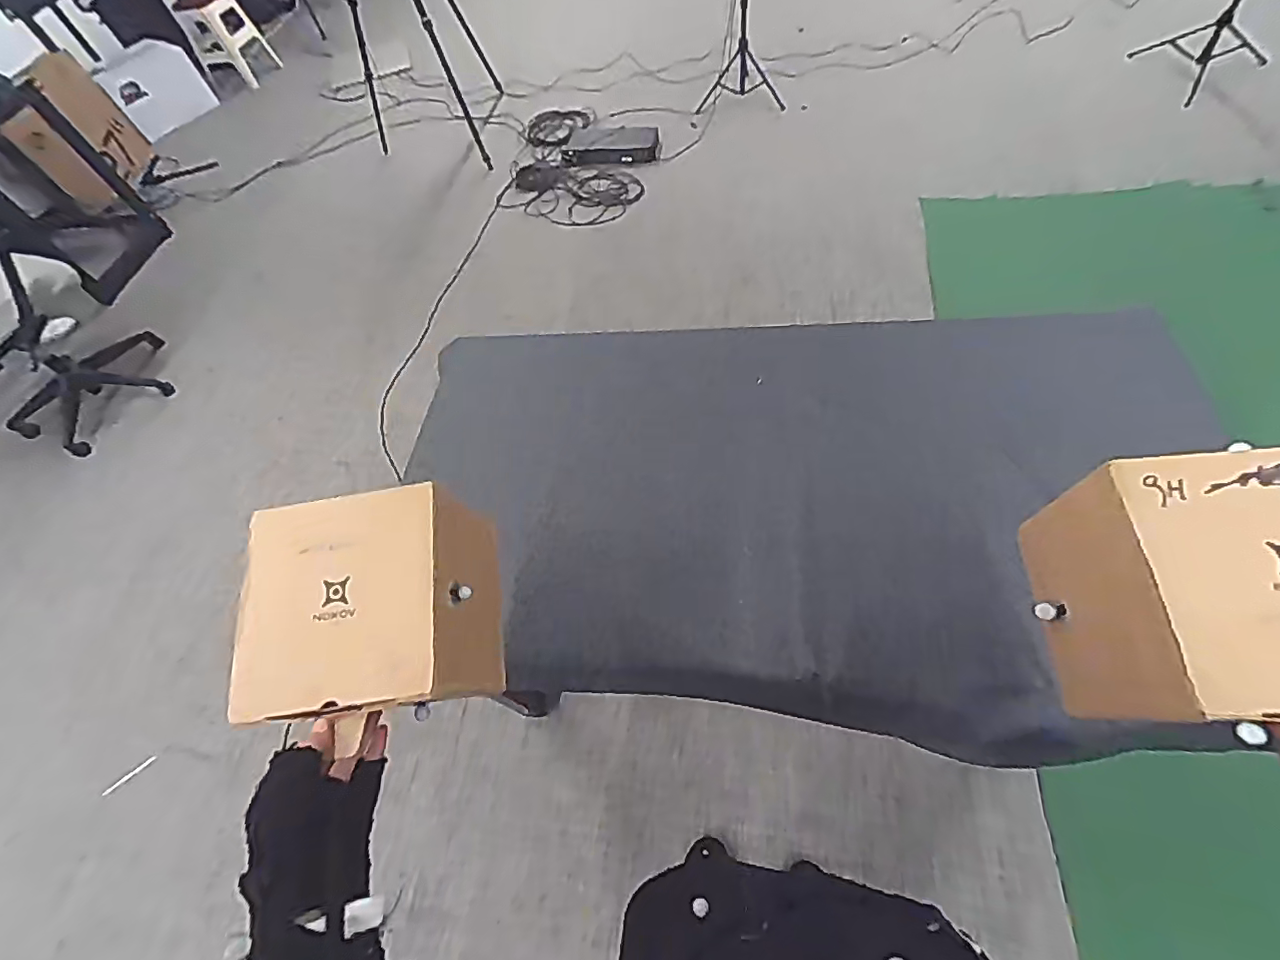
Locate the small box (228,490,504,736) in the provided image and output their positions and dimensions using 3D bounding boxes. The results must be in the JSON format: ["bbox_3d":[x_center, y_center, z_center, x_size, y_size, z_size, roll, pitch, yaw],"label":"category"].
[{"bbox_3d":[-0.234,0.128,0.508,0.168,0.176,0.179,-9,68,2],"label":"small box"}]
